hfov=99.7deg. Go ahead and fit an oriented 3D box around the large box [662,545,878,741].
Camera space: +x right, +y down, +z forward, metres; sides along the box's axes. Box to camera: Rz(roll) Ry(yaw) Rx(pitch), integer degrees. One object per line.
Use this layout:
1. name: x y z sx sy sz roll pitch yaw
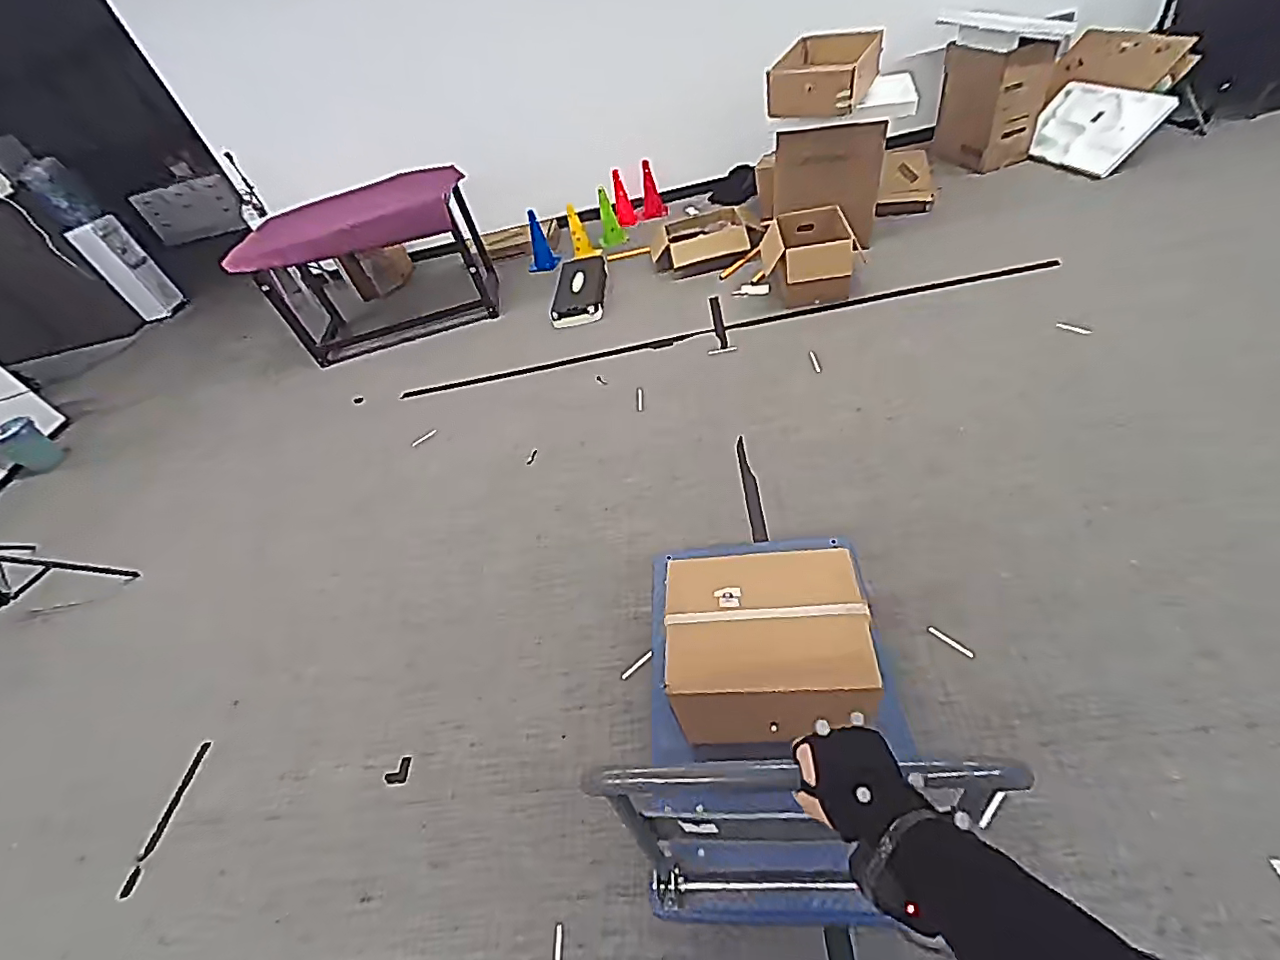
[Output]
1. large box: 0.278 0.376 1.213 0.408 0.320 0.320 -7 45 12
